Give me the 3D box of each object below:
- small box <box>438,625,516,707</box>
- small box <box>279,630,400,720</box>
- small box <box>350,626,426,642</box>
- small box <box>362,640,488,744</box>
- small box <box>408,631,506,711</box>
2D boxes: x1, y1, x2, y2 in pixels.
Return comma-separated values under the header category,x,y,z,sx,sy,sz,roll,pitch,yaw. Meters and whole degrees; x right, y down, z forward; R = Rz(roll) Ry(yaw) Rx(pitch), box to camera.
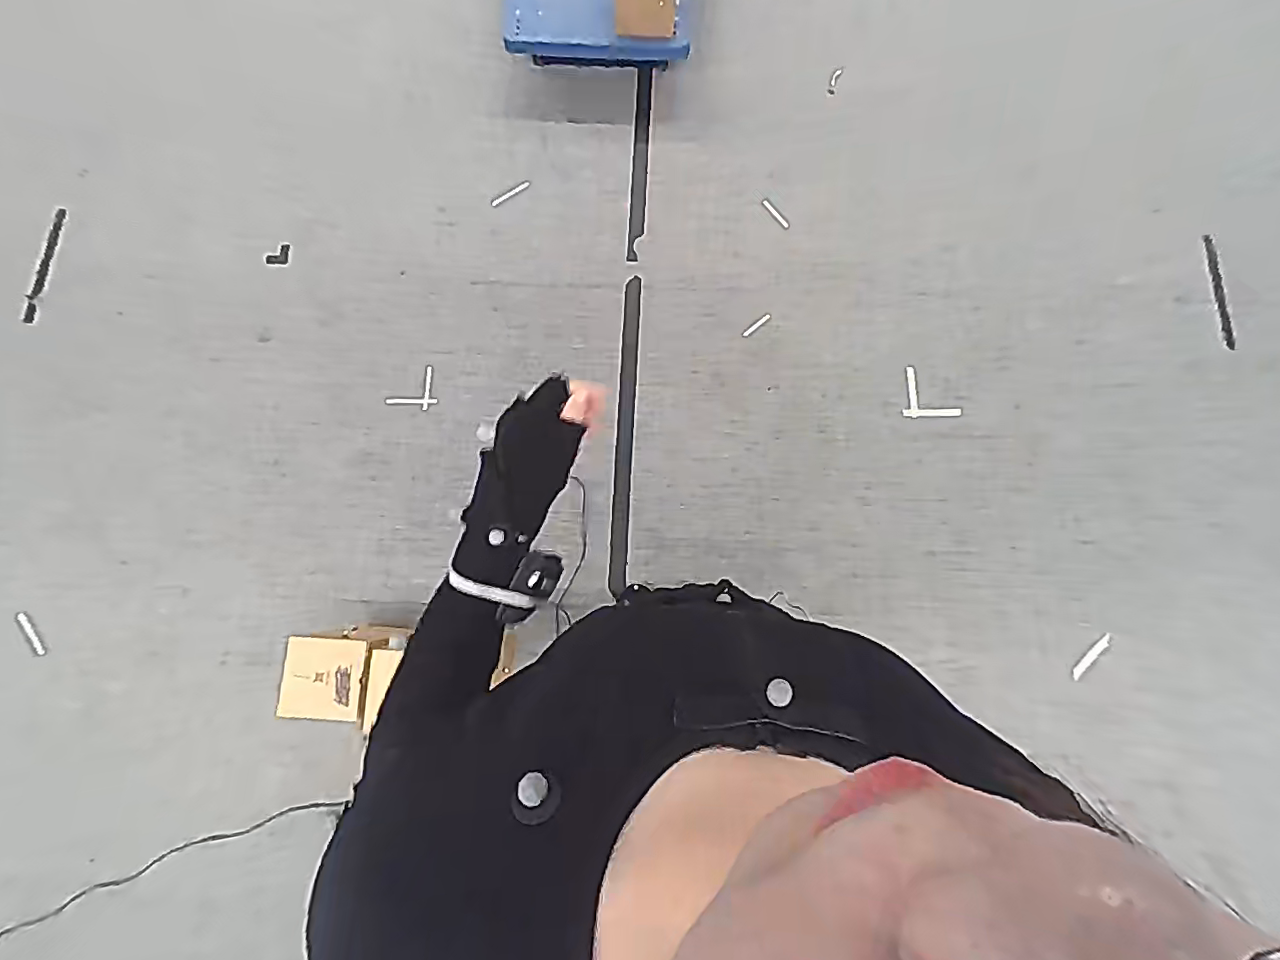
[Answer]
category,x,y,z,sx,sy,sz,roll,pitch,yaw
small box,-0.423,0.475,1.397,0.168,0.176,0.179,3,78,-1
small box,-0.674,0.437,1.235,0.179,0.176,0.168,3,79,2
small box,-0.674,0.472,1.396,0.179,0.176,0.168,4,79,1
small box,-0.416,0.412,1.073,0.179,0.176,0.168,3,79,-1
small box,-0.420,0.439,1.237,0.179,0.176,0.168,2,79,0
